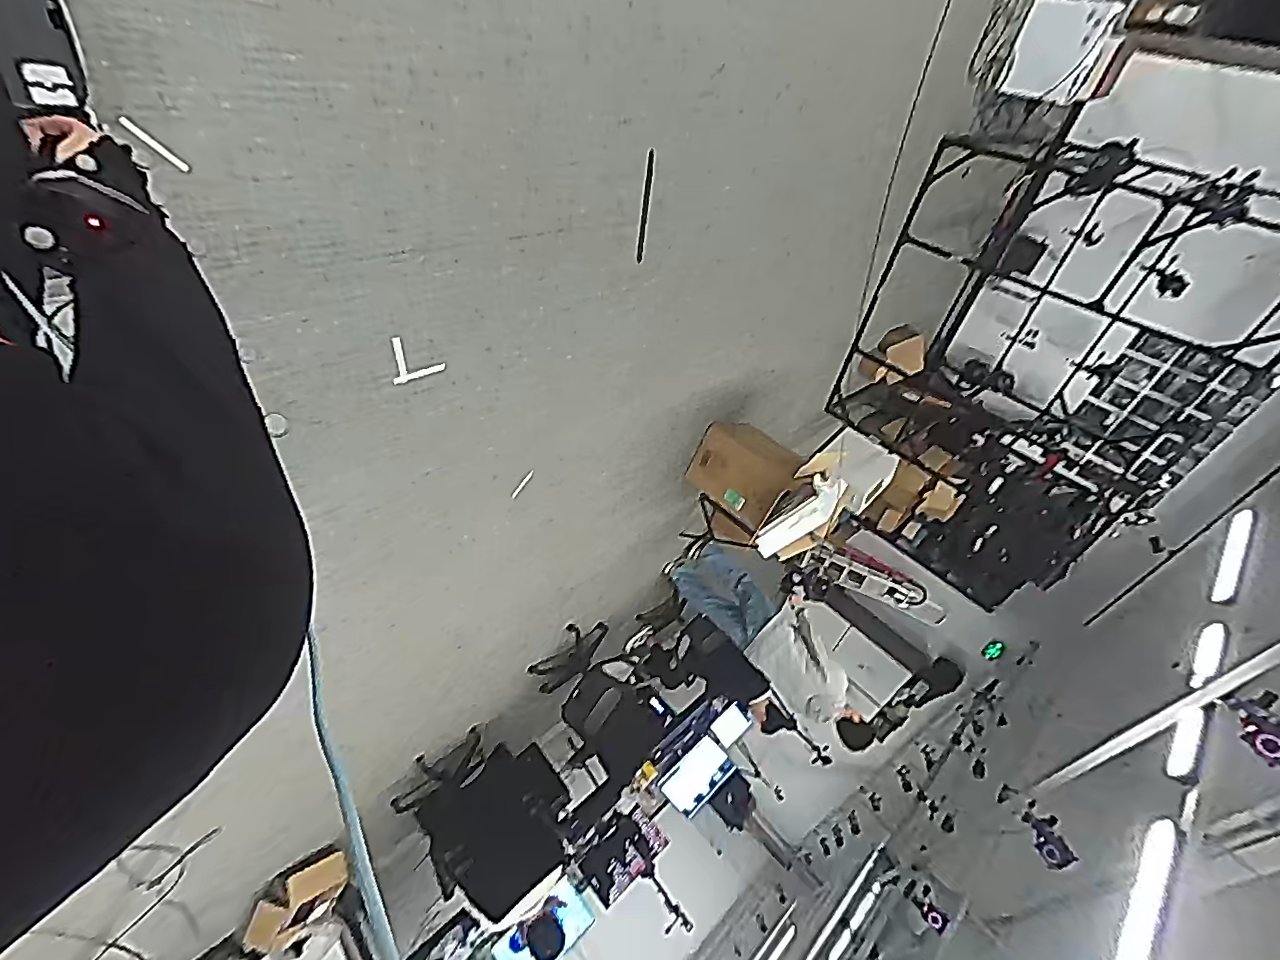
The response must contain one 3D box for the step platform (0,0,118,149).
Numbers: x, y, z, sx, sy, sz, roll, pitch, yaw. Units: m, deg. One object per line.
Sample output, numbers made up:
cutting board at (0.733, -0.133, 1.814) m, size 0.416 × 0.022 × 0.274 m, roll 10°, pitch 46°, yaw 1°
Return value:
step platform at (-1.137, -0.613, 0.681) m, size 0.684 × 0.204 × 0.286 m, roll -25°, pitch 141°, yaw -40°
